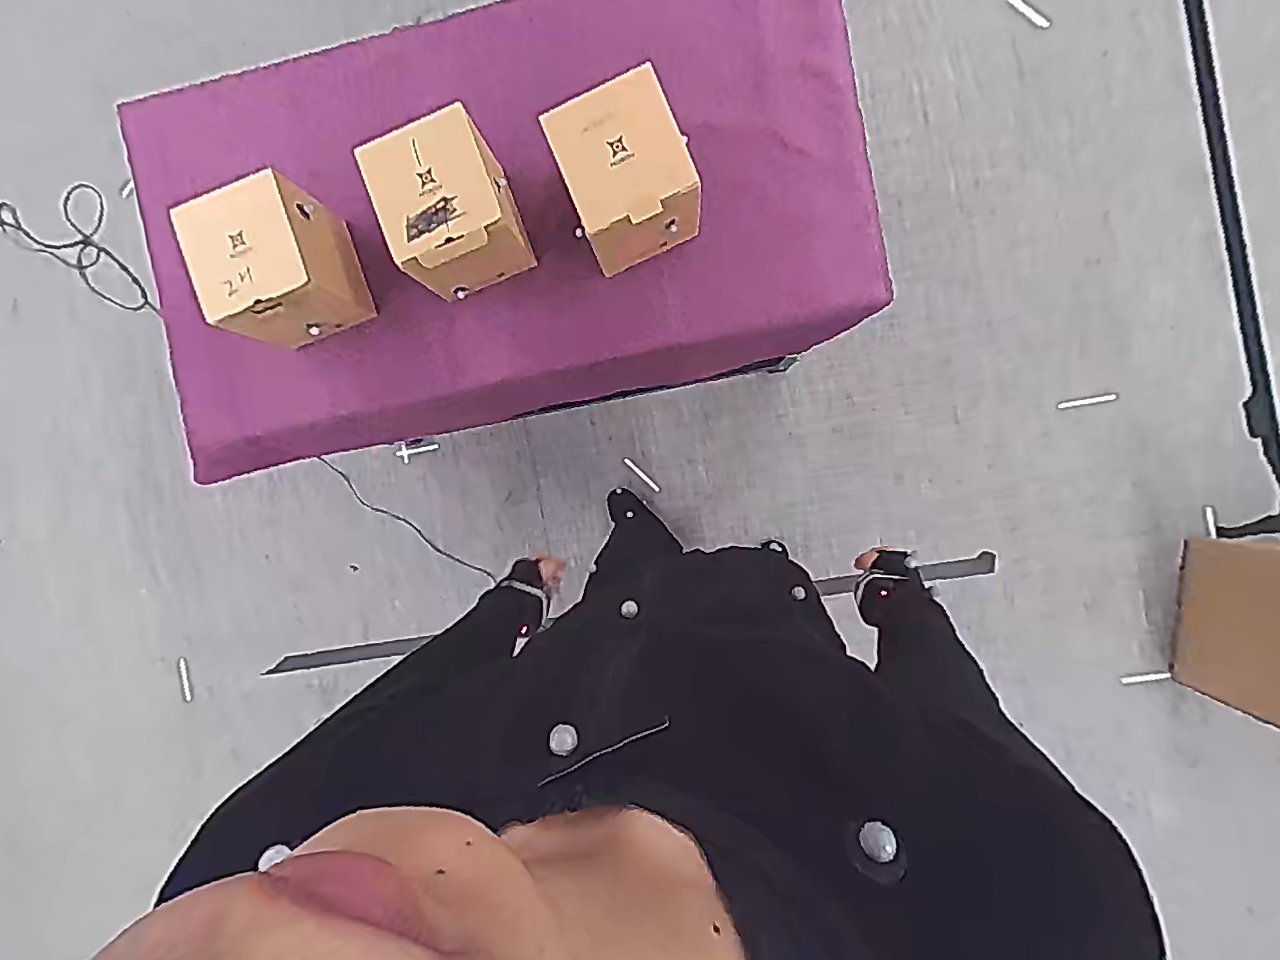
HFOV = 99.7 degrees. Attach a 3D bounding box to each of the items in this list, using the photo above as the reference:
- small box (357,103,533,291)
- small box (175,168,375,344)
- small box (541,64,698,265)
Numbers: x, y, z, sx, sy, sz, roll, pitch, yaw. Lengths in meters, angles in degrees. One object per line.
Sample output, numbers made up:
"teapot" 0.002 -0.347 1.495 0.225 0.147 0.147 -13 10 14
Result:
"small box" -0.280 -0.407 0.818 0.168 0.176 0.179 -21 89 5
"small box" -0.553 -0.334 0.841 0.168 0.176 0.179 -19 90 5
"small box" -0.021 -0.442 0.798 0.168 0.176 0.179 -23 89 5
